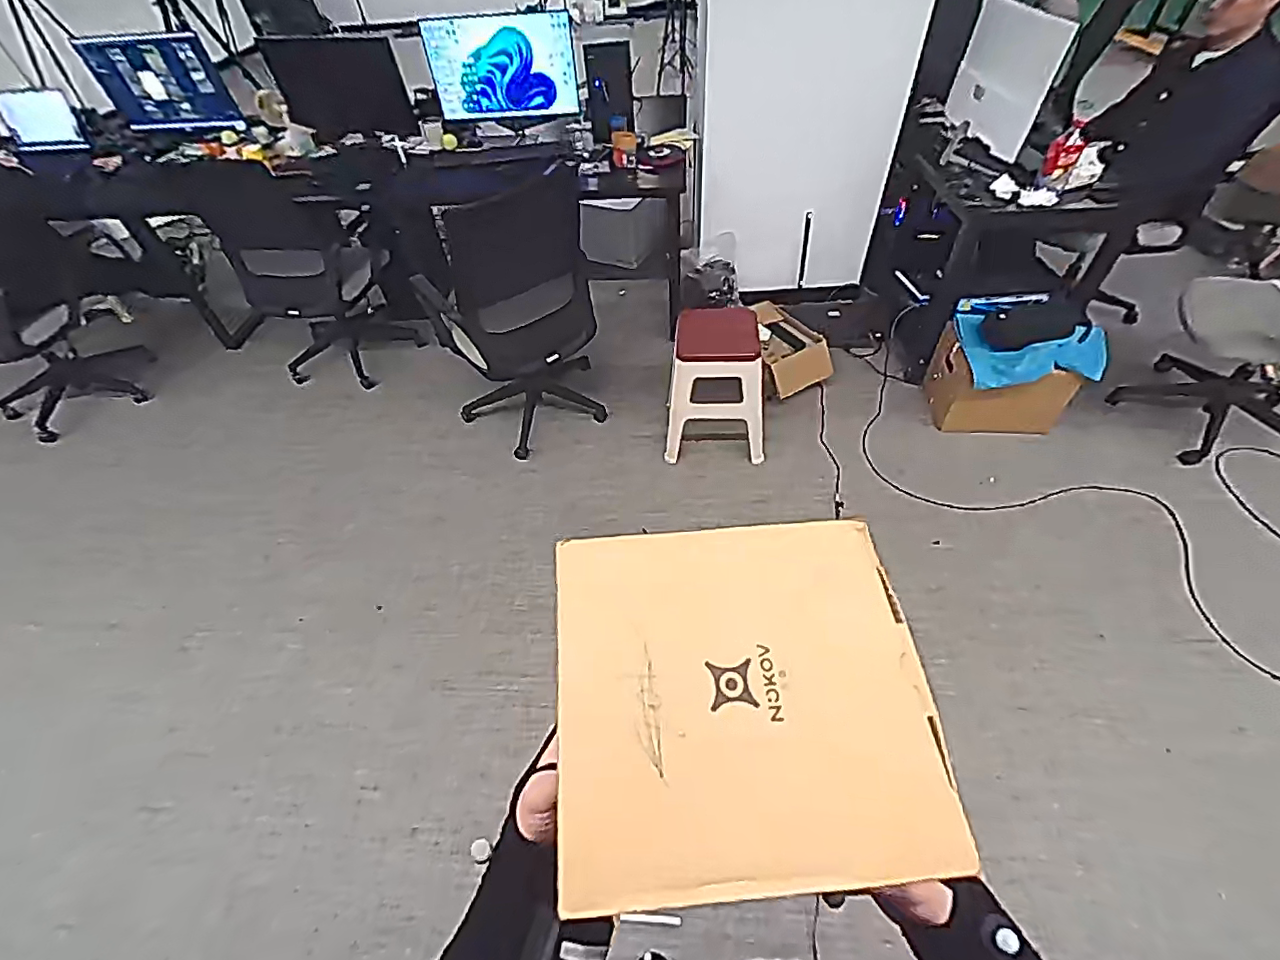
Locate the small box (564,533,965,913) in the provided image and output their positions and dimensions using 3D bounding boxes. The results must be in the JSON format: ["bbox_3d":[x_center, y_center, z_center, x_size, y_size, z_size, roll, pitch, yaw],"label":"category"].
[{"bbox_3d":[0.049,0.147,0.337,0.179,0.176,0.168,-5,58,-2],"label":"small box"}]
